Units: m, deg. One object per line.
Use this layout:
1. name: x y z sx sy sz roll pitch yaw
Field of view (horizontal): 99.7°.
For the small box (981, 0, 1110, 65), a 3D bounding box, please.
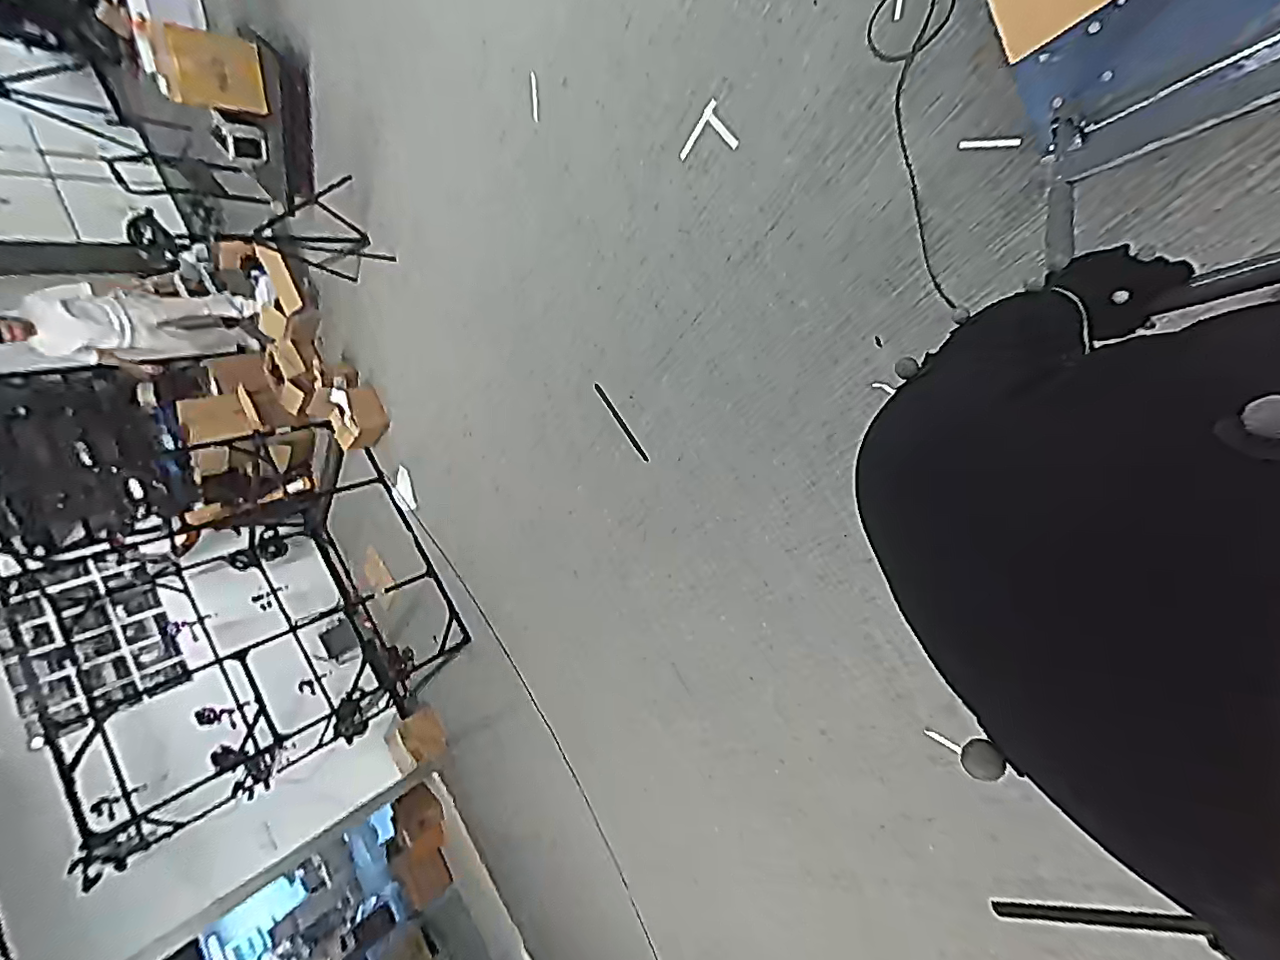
1. small box: 0.632 -0.780 0.818 0.179 0.176 0.168 -17 116 47
